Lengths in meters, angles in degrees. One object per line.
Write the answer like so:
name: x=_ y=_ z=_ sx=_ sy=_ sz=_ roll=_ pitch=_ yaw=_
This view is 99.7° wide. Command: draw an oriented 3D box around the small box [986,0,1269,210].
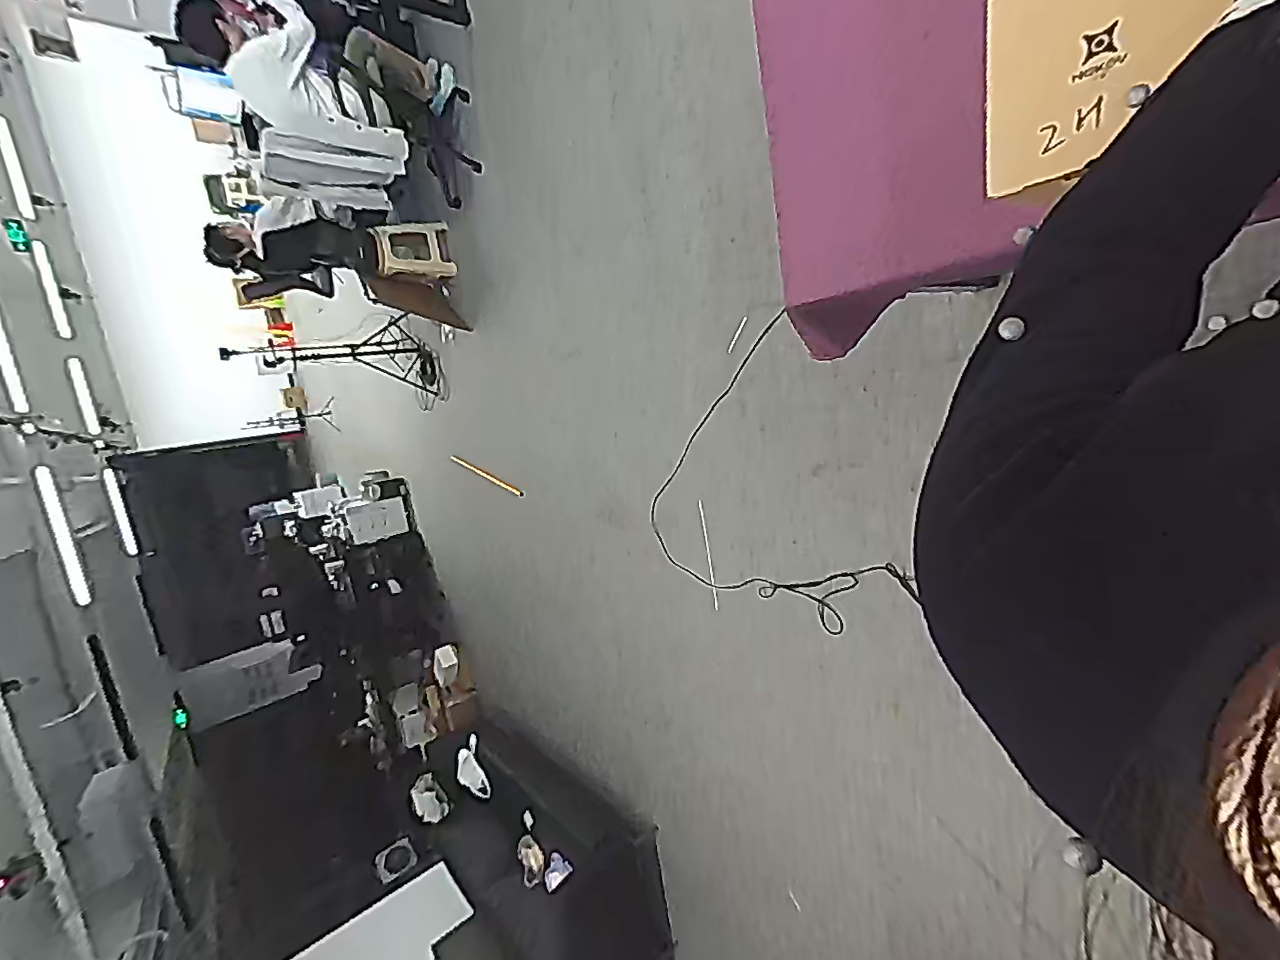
small box: x=0.444 y=-0.370 z=0.499 sx=0.168 sy=0.176 sz=0.179 roll=7 pitch=108 yaw=52
